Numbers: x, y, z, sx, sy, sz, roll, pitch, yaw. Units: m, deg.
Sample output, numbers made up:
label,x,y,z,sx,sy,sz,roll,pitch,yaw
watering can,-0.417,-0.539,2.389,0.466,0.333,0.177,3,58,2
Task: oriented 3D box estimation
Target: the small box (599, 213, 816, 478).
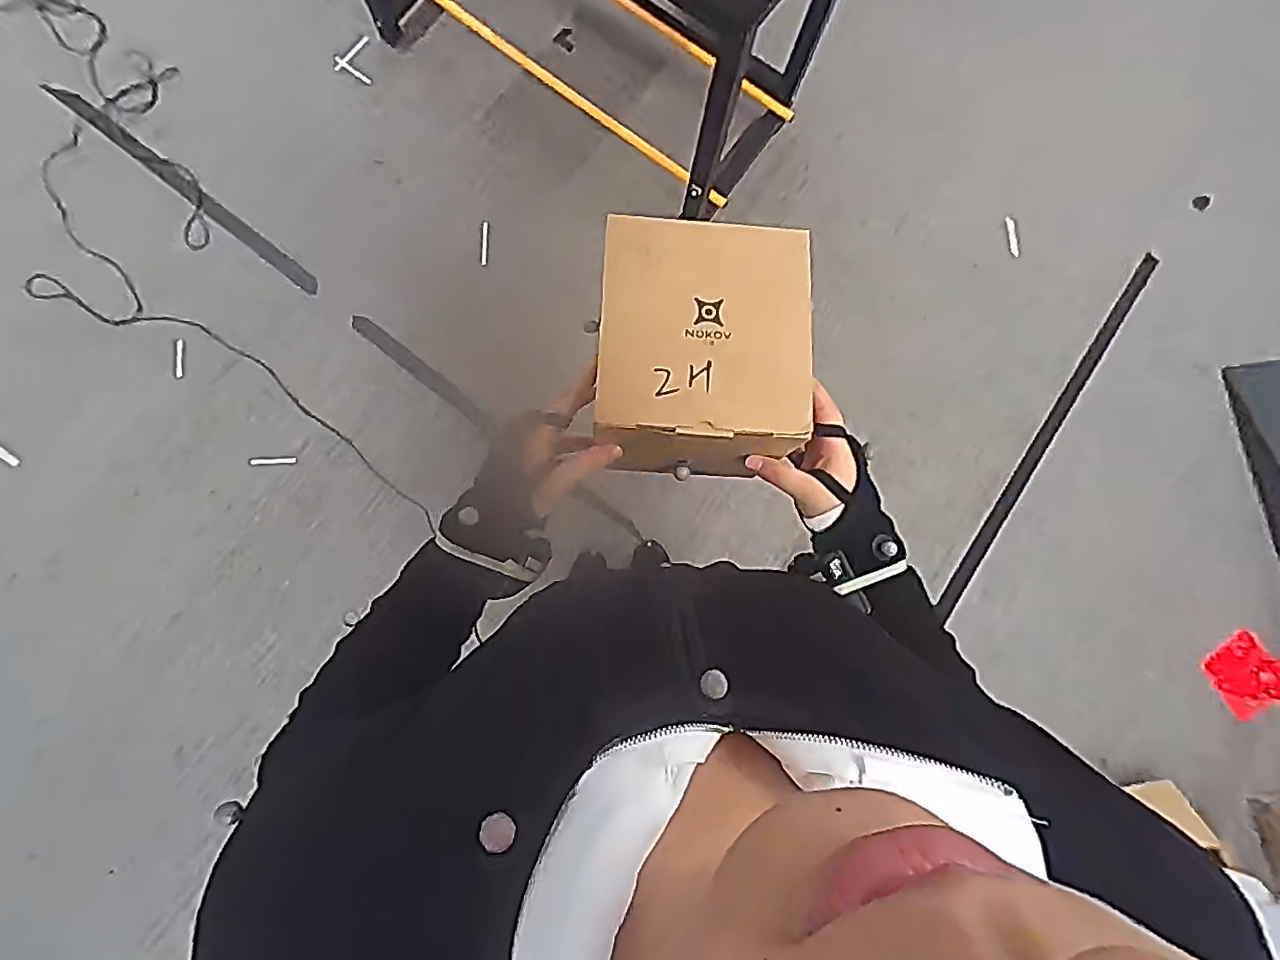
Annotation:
label,x,y,z,sx,sy,sz,roll,pitch,yaw
small box,0.049,-0.107,0.494,0.168,0.176,0.179,3,79,-3
